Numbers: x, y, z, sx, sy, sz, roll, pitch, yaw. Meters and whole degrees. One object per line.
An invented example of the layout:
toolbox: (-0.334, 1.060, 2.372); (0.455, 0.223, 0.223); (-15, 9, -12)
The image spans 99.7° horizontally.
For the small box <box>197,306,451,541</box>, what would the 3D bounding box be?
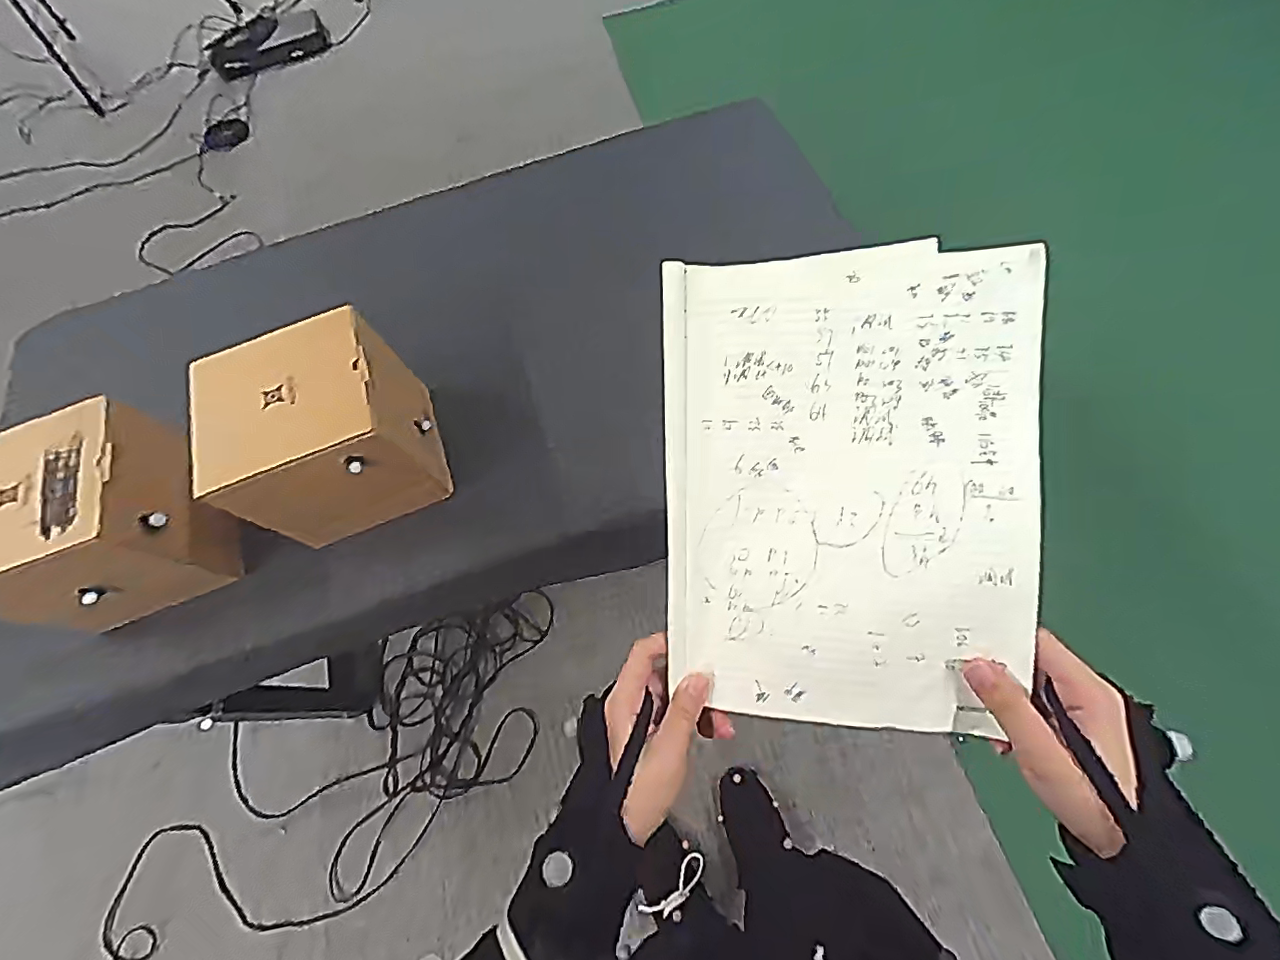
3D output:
small box: (-0.340, -0.052, 0.601); (0.179, 0.176, 0.168); (-22, 66, -3)
